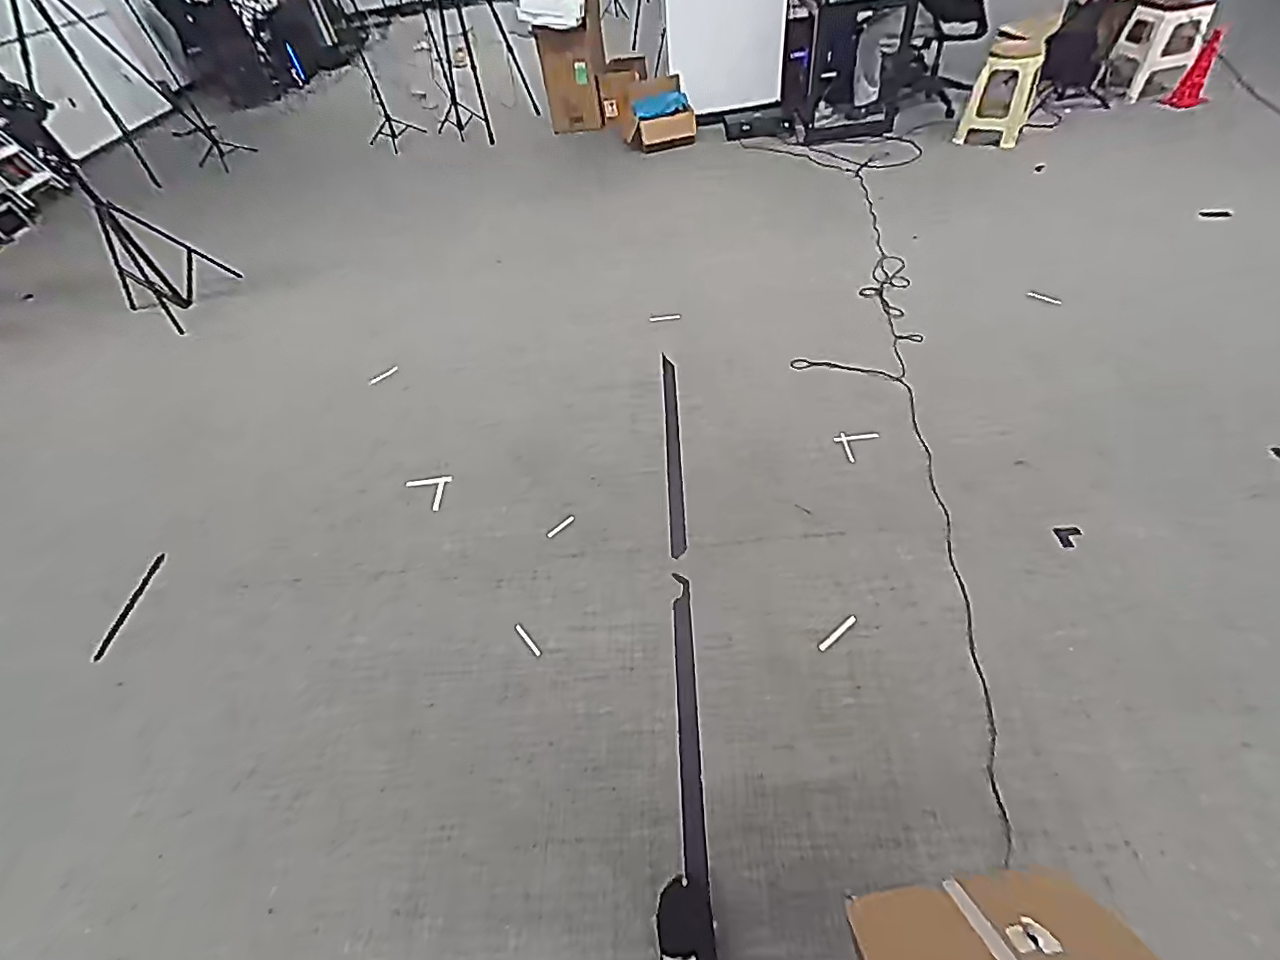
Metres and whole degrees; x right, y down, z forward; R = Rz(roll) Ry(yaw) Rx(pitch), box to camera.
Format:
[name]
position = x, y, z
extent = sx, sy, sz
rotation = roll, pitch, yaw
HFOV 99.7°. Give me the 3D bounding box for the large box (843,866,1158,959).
[large box]
position = 0.464, 0.714, 0.584
extent = 0.320, 0.408, 0.320
rotation = -12, 80, 5
